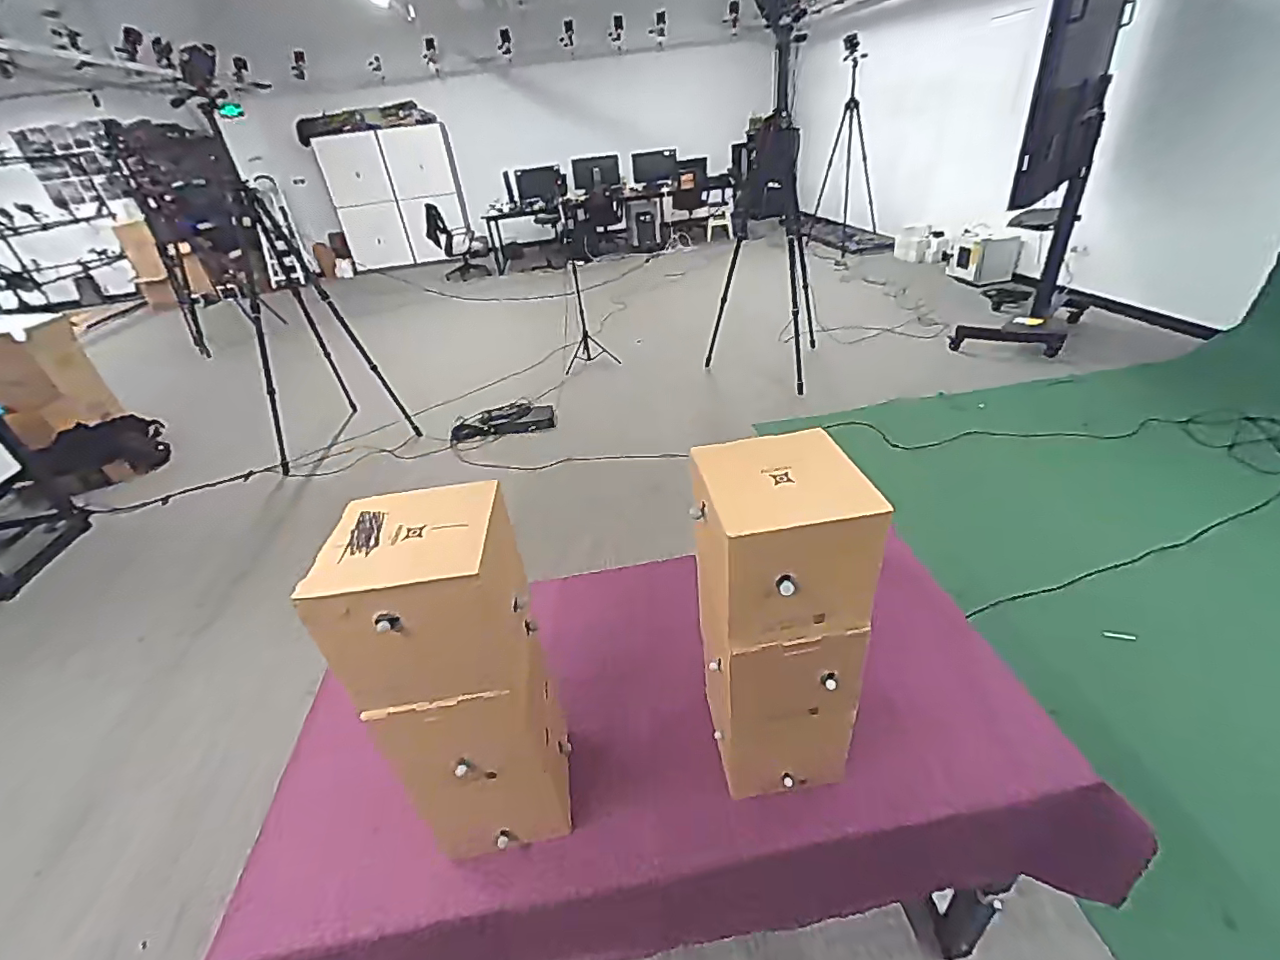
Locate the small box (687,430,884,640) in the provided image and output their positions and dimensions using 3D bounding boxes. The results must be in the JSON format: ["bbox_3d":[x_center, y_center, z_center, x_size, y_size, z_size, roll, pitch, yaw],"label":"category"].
[{"bbox_3d":[0.156,0.066,0.628,0.168,0.176,0.179,-9,33,-4],"label":"small box"}]

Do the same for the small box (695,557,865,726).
[{"bbox_3d":[0.174,0.201,0.717,0.168,0.176,0.179,-9,33,-4],"label":"small box"}]

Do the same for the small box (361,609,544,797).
[{"bbox_3d":[-0.221,0.266,0.693,0.168,0.176,0.179,-10,33,-3],"label":"small box"}]

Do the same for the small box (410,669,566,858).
[{"bbox_3d":[-0.204,0.406,0.780,0.179,0.176,0.168,-10,33,-5],"label":"small box"}]

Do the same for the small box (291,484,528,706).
[{"bbox_3d":[-0.234,0.128,0.605,0.179,0.176,0.168,-8,33,-3],"label":"small box"}]
